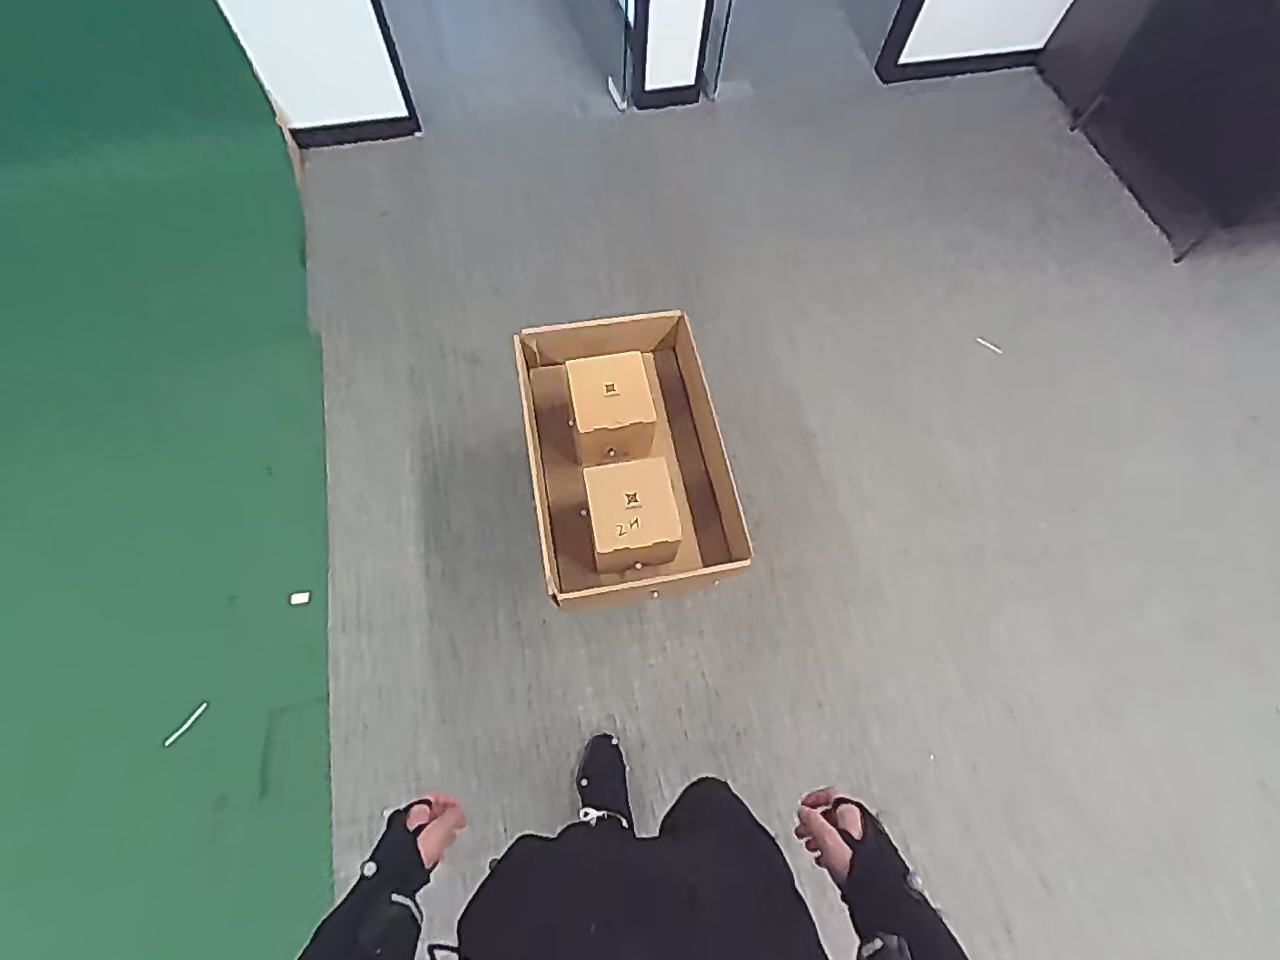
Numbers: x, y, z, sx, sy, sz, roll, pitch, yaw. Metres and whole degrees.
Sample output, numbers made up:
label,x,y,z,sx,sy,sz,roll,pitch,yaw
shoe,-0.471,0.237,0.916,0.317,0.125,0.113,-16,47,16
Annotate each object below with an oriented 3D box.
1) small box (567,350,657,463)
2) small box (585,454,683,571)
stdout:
label,x,y,z,sx,sy,sz,roll,pitch,yaw
small box,-0.067,-0.160,1.200,0.168,0.176,0.179,-10,69,-8
small box,-0.019,0.070,1.099,0.168,0.176,0.179,-9,67,-6
